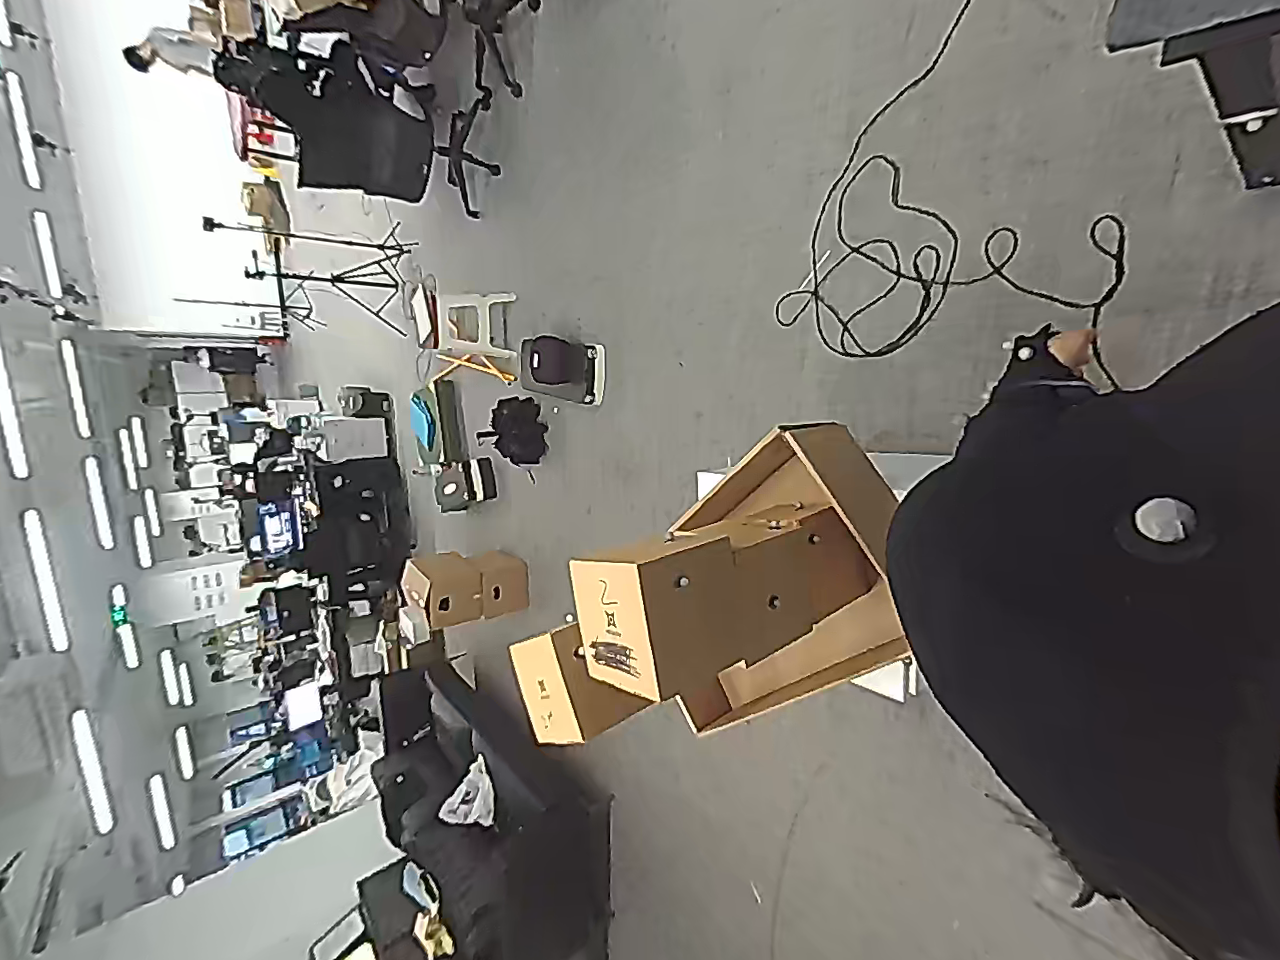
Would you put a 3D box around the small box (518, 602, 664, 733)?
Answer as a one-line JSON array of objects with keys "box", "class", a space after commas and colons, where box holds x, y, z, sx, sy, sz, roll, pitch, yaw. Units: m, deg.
[{"box": [-0.088, 0.327, 0.961, 0.168, 0.176, 0.179, -32, 75, 49], "class": "small box"}]

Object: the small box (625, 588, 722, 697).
[{"box": [0.031, 0.316, 1.076, 0.179, 0.176, 0.168, -27, 79, 48], "class": "small box"}]

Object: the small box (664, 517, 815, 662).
[{"box": [0.162, 0.163, 0.879, 0.168, 0.176, 0.179, 1, 101, 52], "class": "small box"}]
